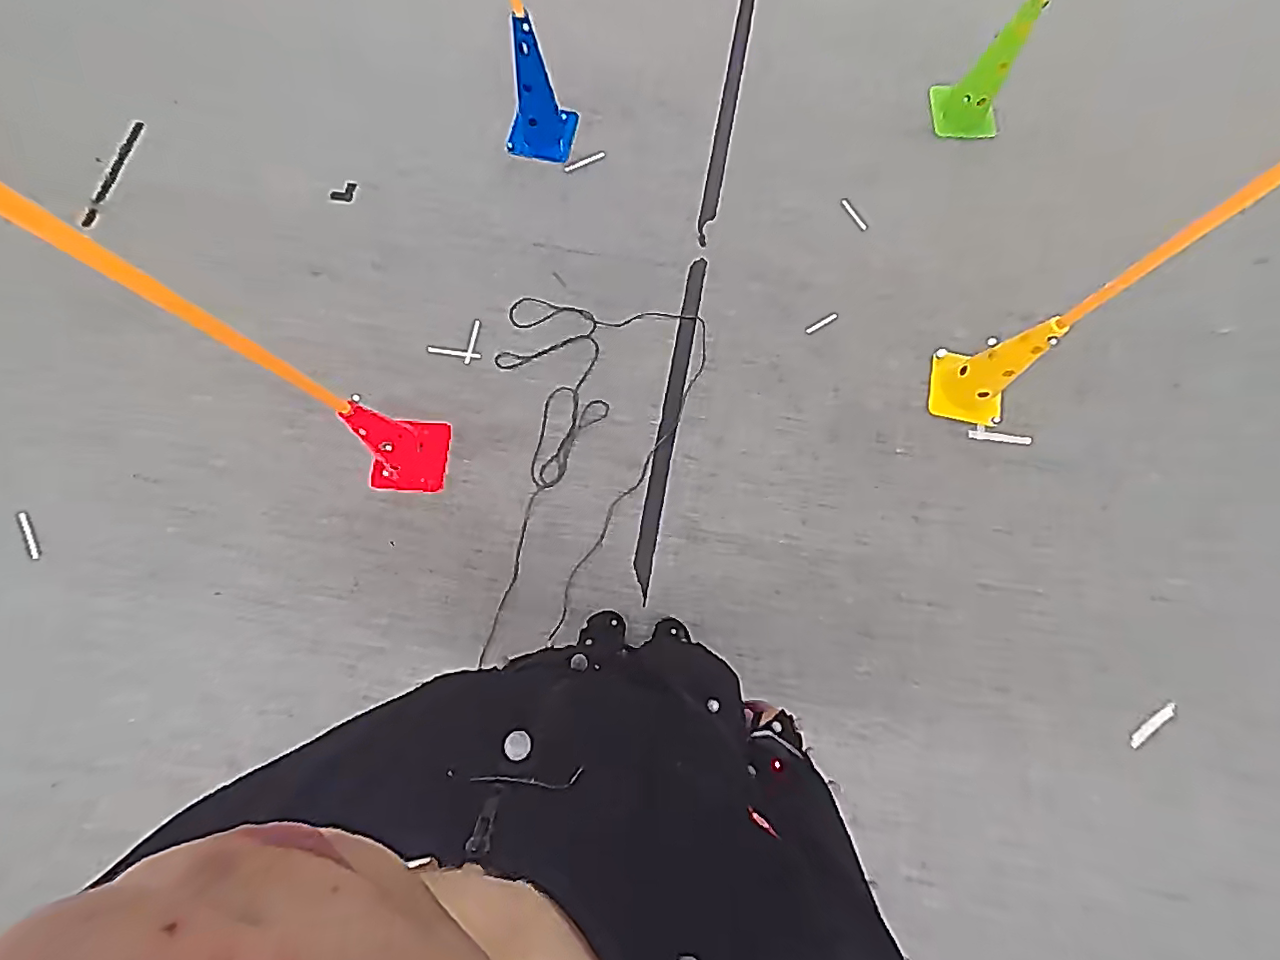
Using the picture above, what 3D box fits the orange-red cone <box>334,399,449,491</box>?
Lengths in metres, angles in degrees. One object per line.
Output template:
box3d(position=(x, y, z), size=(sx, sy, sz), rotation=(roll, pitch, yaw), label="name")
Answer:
box3d(position=(-0.621, -0.113, 1.294), size=(0.199, 0.360, 0.198), rotation=(5, 77, 0), label="orange-red cone")

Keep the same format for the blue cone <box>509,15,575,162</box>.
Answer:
box3d(position=(-0.310, -1.145, 1.564), size=(0.193, 0.380, 0.192), rotation=(13, 77, 3), label="blue cone")

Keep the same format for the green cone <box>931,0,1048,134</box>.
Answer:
box3d(position=(1.051, -1.246, 1.588), size=(0.200, 0.368, 0.202), rotation=(0, 78, 0), label="green cone")
